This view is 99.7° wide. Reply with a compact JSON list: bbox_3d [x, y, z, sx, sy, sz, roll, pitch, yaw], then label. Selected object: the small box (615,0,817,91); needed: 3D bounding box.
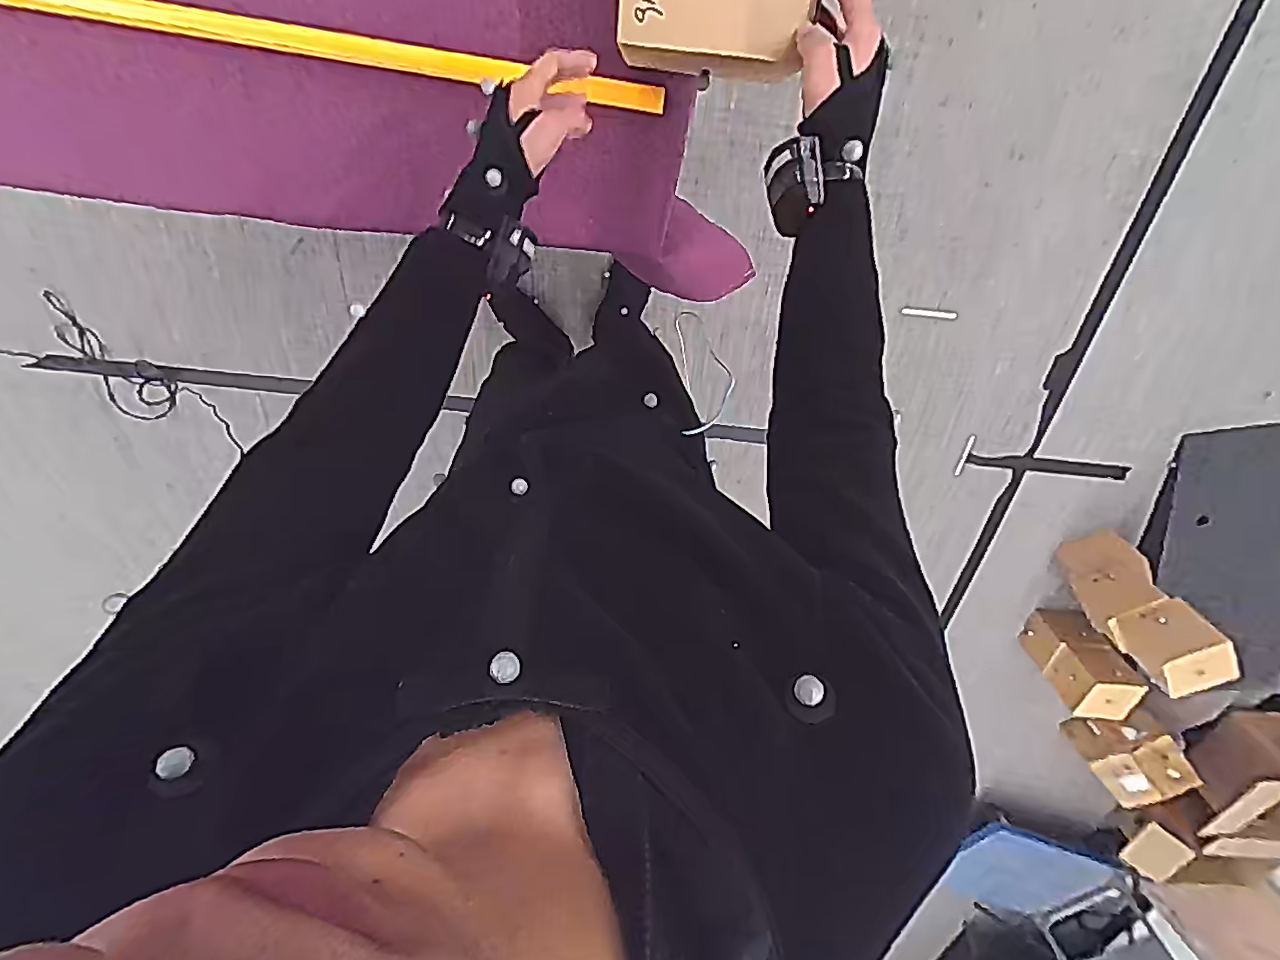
[{"bbox_3d":[0.074,-0.490,0.524,0.179,0.176,0.168,7,122,-1],"label":"small box"}]
